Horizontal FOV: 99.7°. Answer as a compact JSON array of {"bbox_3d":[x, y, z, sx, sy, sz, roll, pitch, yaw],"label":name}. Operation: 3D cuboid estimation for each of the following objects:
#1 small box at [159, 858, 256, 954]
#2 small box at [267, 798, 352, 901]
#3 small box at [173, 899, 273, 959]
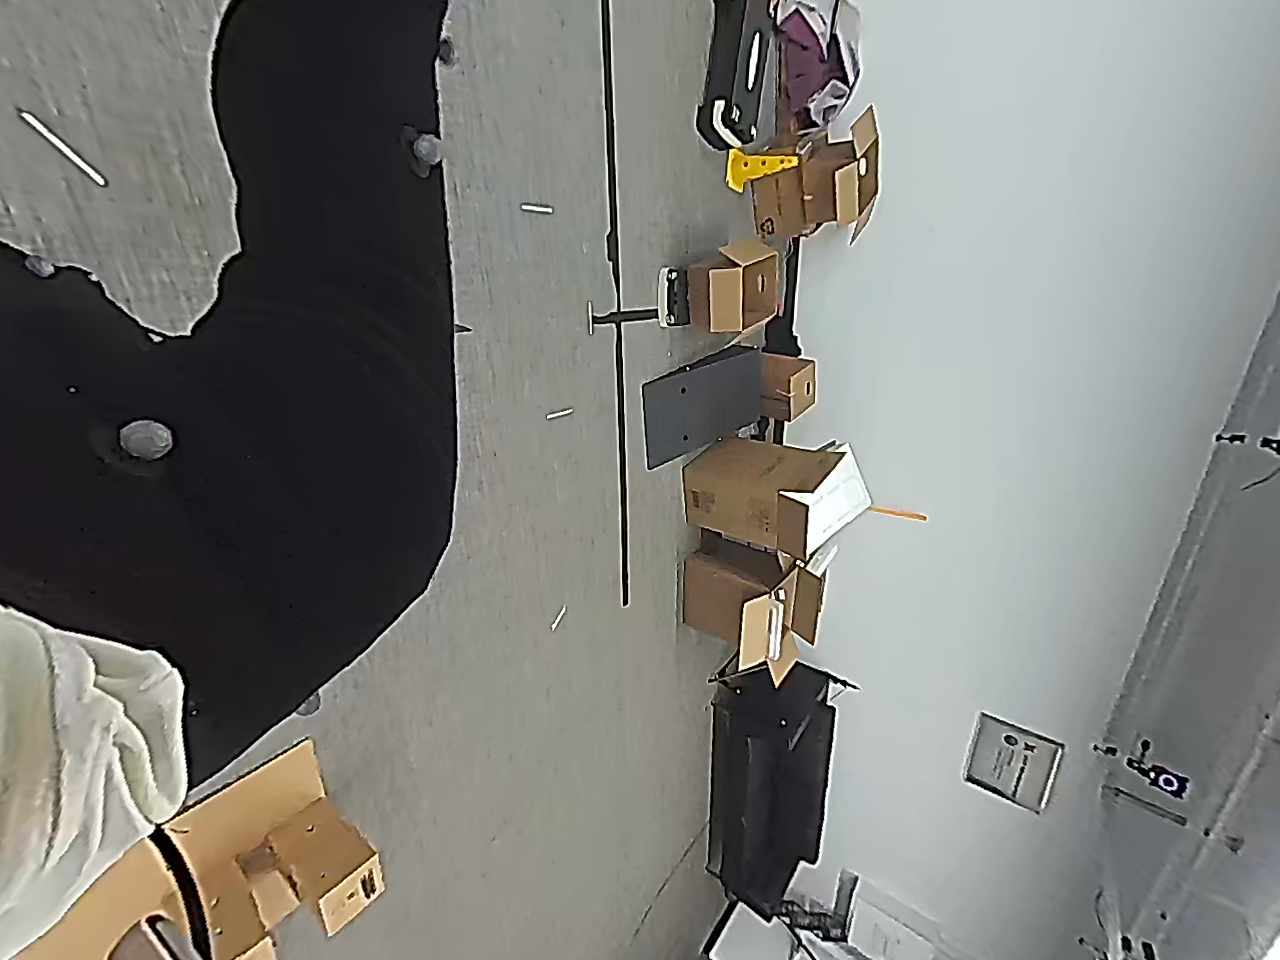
[{"bbox_3d":[-1.228,1.242,1.536,0.179,0.176,0.168,-23,120,-50],"label":"small box"},{"bbox_3d":[-1.067,1.179,1.738,0.179,0.176,0.168,-25,123,-50],"label":"small box"},{"bbox_3d":[-1.101,1.281,1.437,0.168,0.176,0.179,-22,119,-50],"label":"small box"}]
